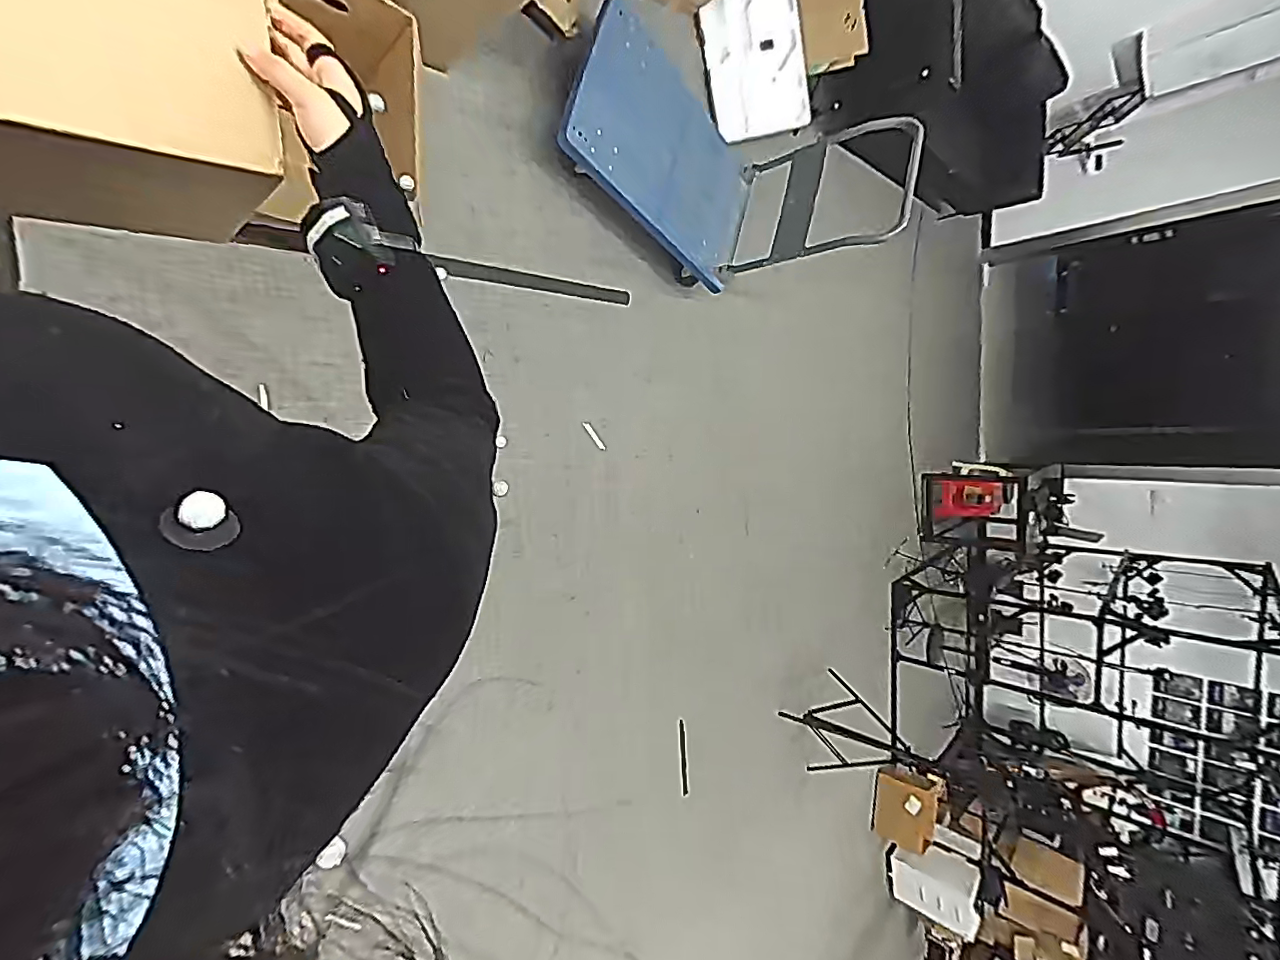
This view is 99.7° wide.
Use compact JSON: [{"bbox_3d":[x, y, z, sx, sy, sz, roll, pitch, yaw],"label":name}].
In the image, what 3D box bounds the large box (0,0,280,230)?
[{"bbox_3d":[-0.549,-0.398,0.394,0.408,0.320,0.320,-11,104,-43],"label":"large box"}]
